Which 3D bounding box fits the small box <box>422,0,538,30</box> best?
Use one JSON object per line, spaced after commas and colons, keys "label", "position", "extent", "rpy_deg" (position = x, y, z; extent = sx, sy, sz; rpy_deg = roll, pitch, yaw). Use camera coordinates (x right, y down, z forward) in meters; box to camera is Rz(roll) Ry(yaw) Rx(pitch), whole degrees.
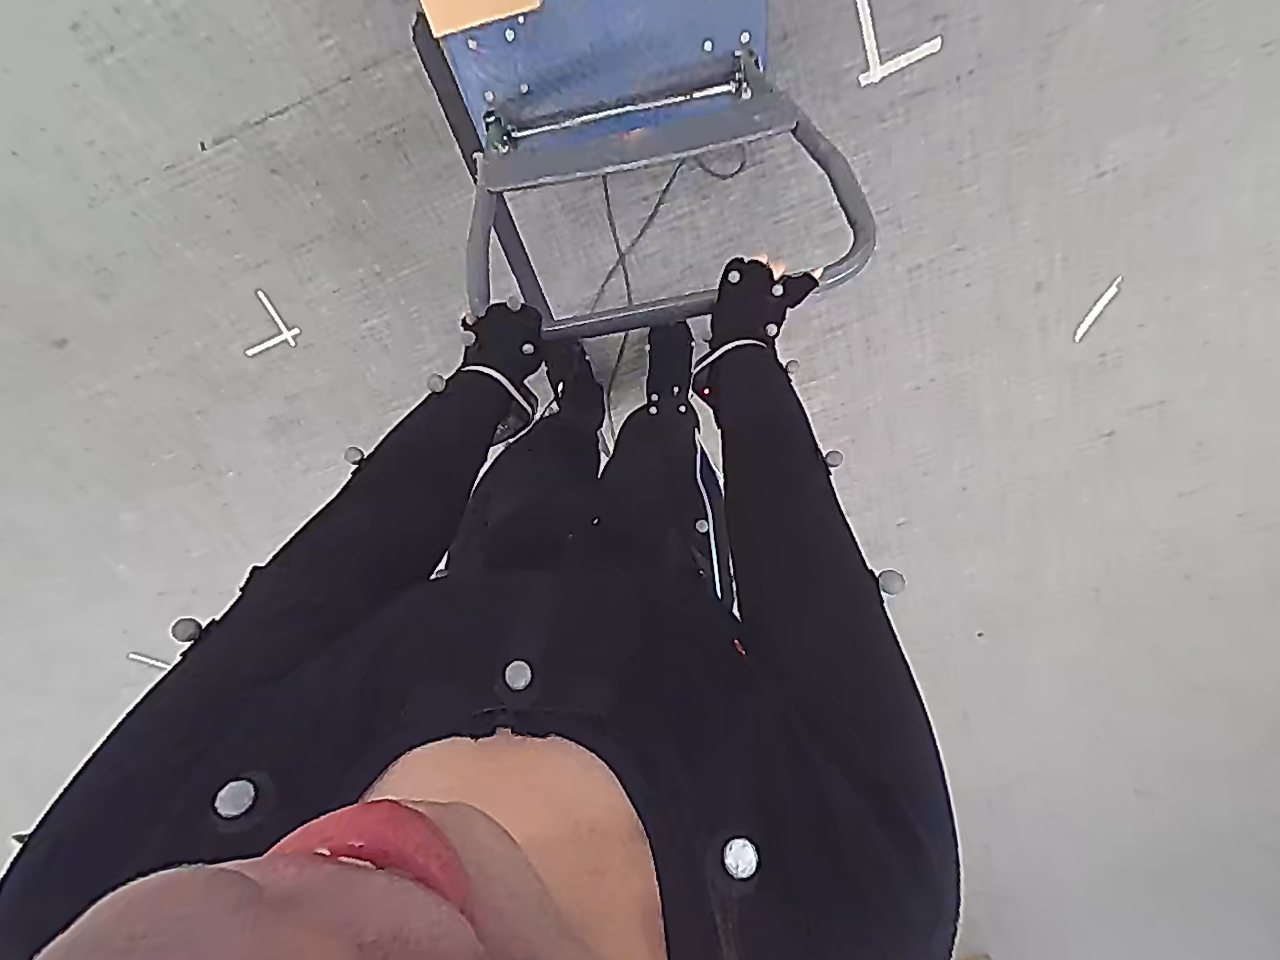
{"label": "small box", "position": [-0.255, -0.813, 0.815], "extent": [0.179, 0.176, 0.168], "rpy_deg": [-13, 136, 5]}
